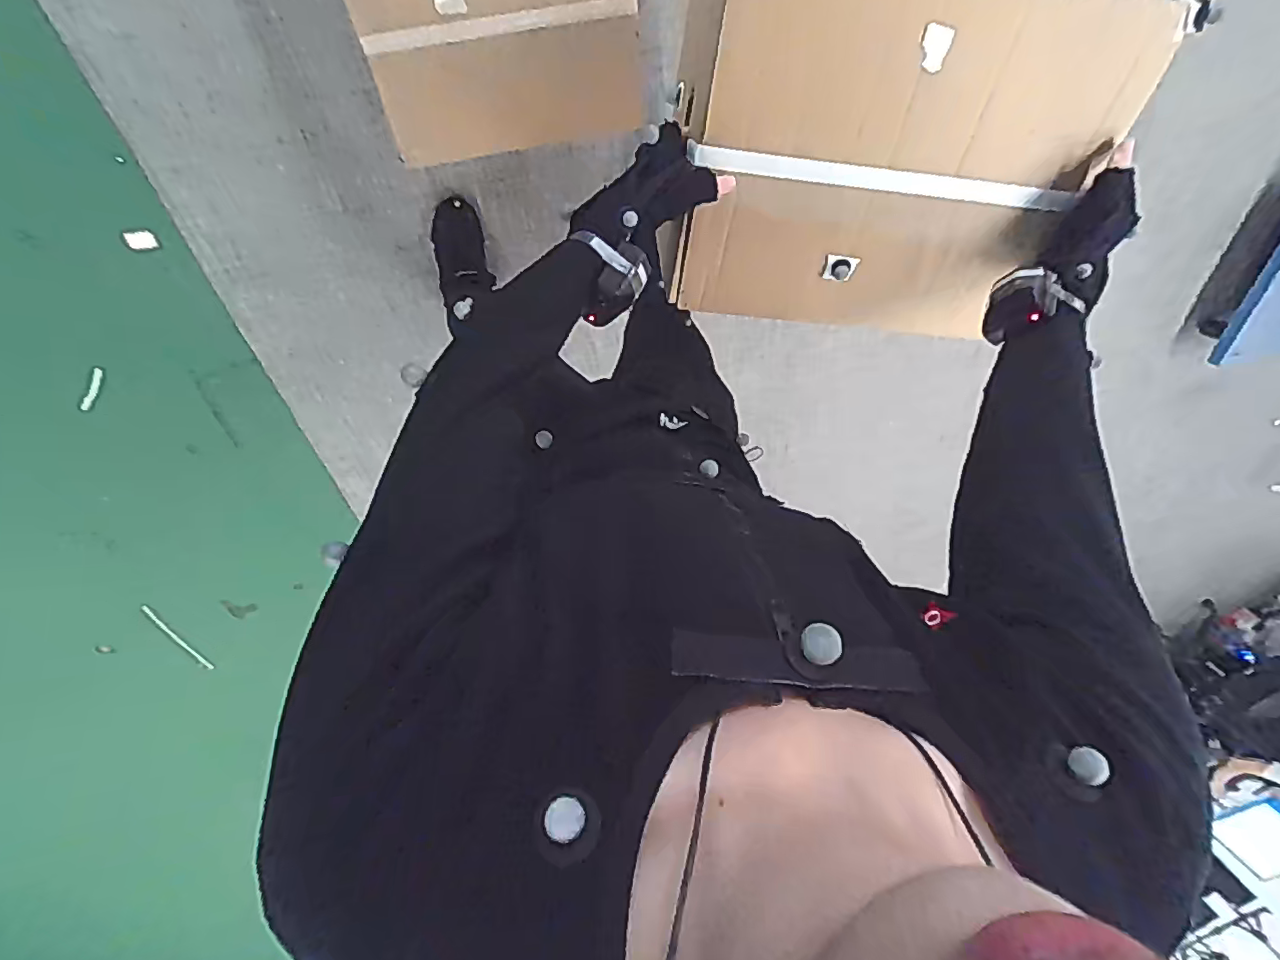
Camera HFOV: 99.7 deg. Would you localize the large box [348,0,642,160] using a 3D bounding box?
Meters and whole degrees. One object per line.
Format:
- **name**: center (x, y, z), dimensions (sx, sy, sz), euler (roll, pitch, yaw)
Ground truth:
- **large box**: center (-0.241, -0.766, 0.902), dimensions (0.408, 0.320, 0.320), euler (-14, 128, -7)
